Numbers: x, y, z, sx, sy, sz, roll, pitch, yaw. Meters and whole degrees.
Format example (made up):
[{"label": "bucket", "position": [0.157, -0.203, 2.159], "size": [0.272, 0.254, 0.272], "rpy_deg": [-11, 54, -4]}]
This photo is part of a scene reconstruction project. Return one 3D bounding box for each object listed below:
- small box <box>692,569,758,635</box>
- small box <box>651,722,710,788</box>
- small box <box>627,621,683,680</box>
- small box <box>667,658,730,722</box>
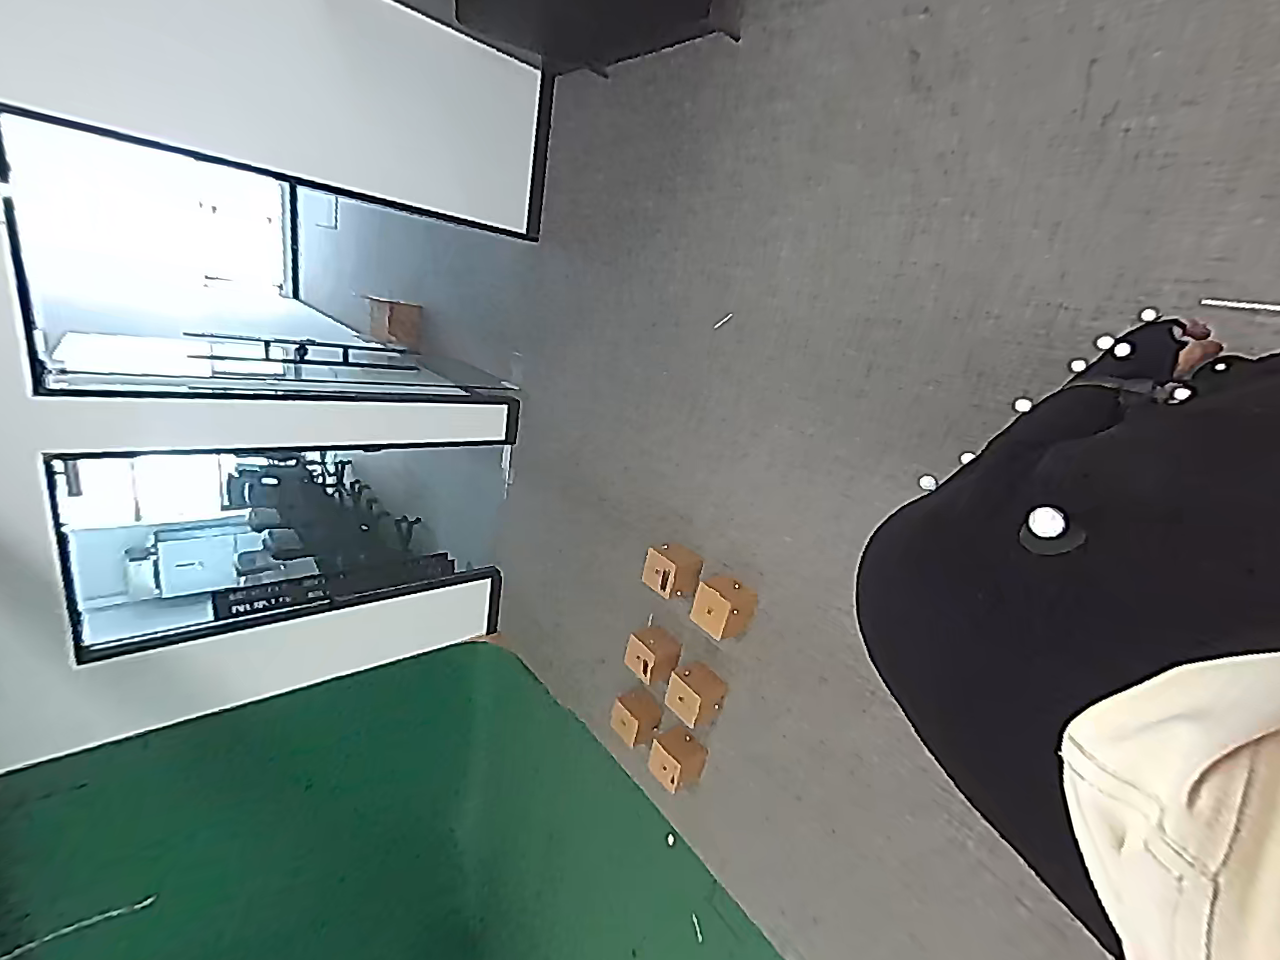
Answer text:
[{"label": "small box", "position": [0.336, 0.473, 2.114], "size": [0.168, 0.176, 0.179], "rpy_deg": [32, 117, 43]}, {"label": "small box", "position": [0.178, 1.201, 2.383], "size": [0.179, 0.176, 0.168], "rpy_deg": [30, 117, 45]}, {"label": "small box", "position": [0.071, 0.765, 2.454], "size": [0.179, 0.176, 0.168], "rpy_deg": [32, 118, 43]}, {"label": "small box", "position": [0.245, 0.870, 2.265], "size": [0.179, 0.176, 0.168], "rpy_deg": [31, 118, 43]}]
